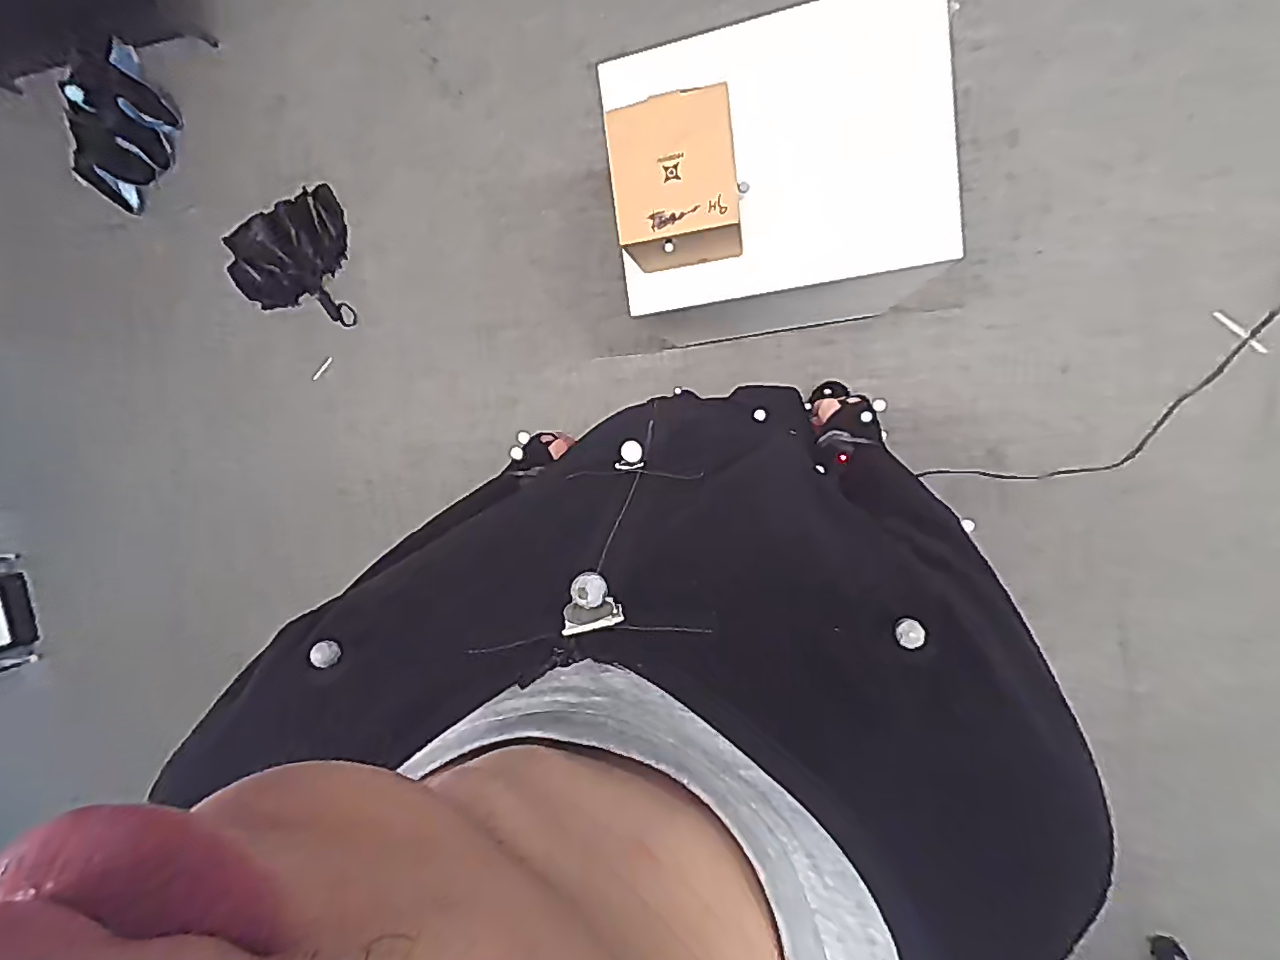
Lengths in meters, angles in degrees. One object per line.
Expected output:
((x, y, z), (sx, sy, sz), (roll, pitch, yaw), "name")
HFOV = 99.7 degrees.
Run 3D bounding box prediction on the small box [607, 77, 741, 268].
((0.057, -0.429, 0.785), (0.168, 0.176, 0.179), (-4, 97, 13), "small box")
